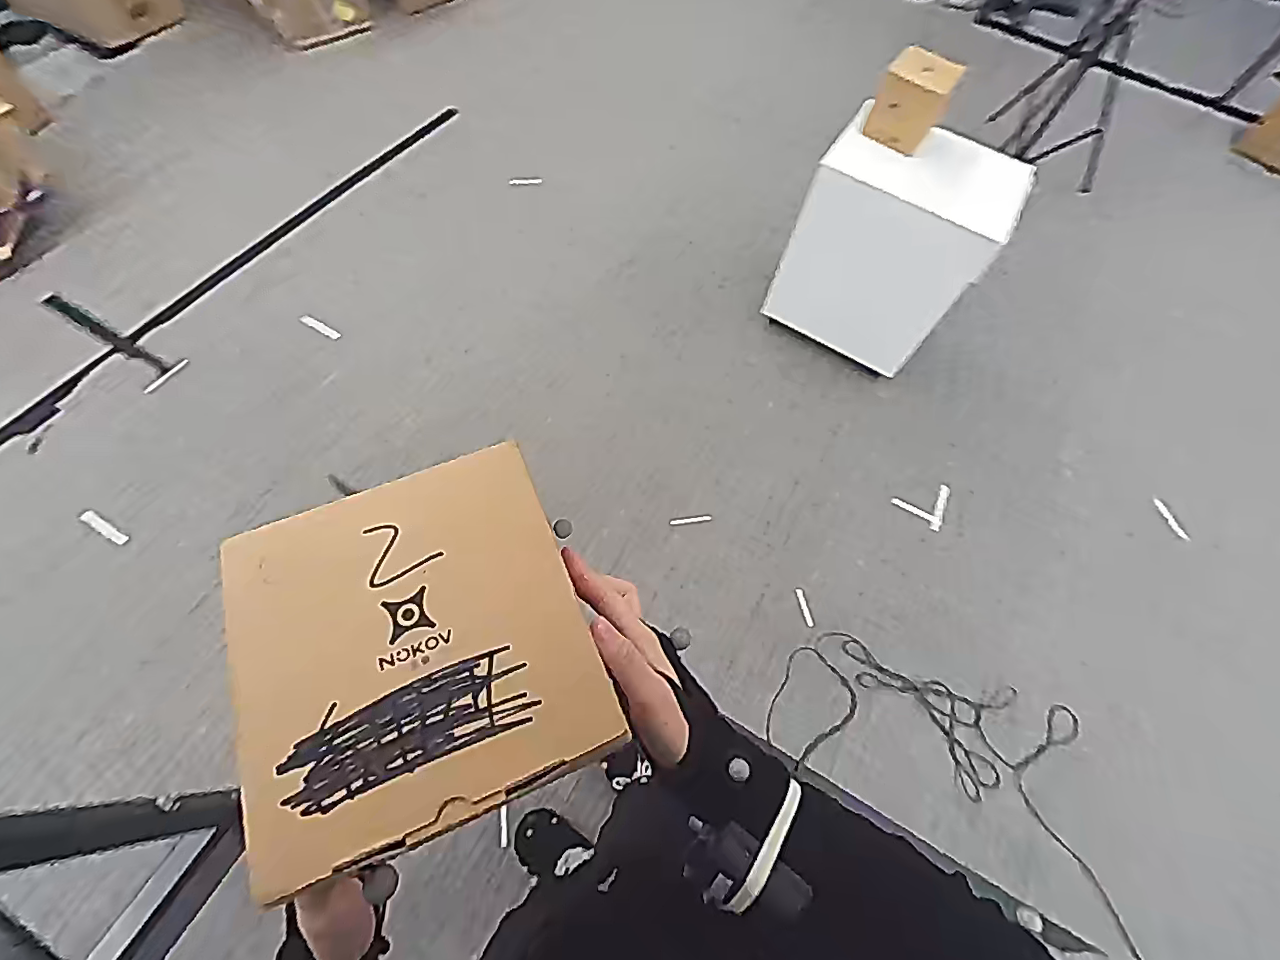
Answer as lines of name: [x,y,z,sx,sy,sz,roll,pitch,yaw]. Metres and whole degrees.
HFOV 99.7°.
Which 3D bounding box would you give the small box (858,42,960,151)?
small box: [0.725,-1.042,1.478,0.168,0.176,0.179,33,64,10]
